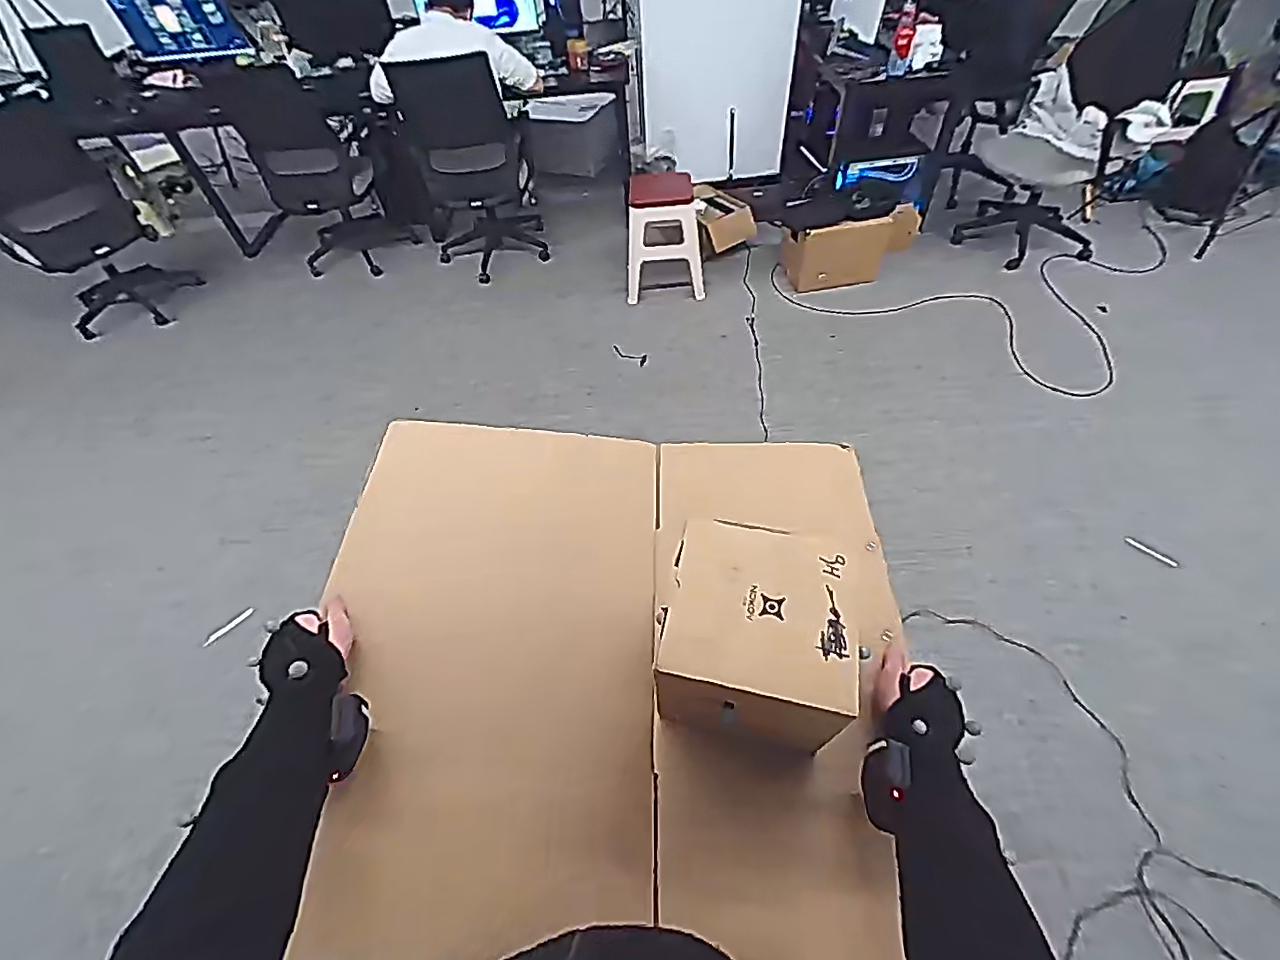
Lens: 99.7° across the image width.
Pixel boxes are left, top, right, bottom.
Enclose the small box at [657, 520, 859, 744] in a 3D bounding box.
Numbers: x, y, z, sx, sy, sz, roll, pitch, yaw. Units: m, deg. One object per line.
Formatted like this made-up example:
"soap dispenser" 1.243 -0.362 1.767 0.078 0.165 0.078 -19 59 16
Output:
"small box" 0.123 0.166 0.578 0.179 0.176 0.168 9 55 11
